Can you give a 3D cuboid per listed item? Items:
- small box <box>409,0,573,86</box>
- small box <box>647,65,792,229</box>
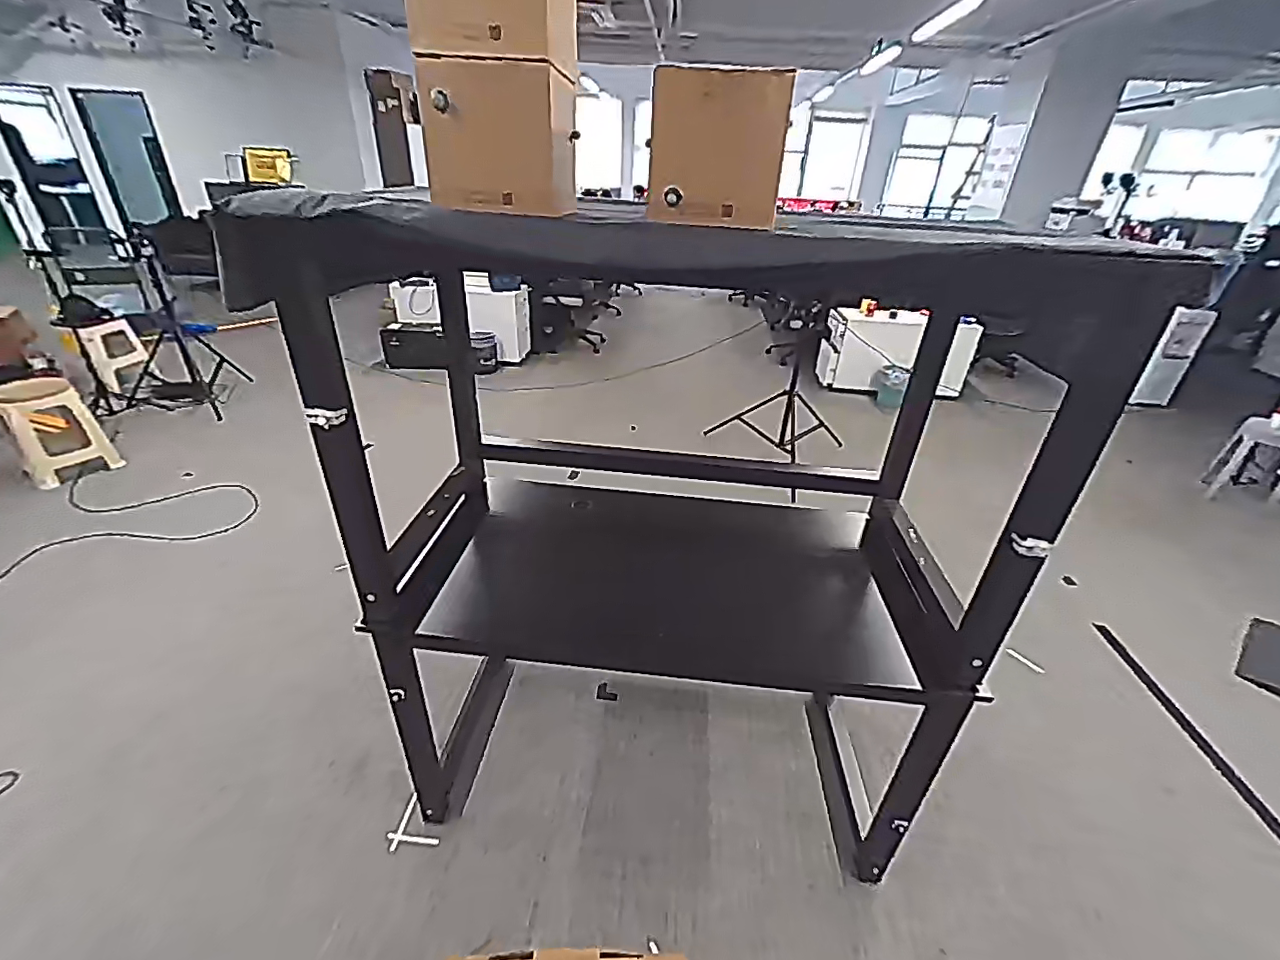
[{"bbox_3d":[-0.177,-0.603,0.667,0.168,0.176,0.179,5,28,3],"label":"small box"},{"bbox_3d":[0.100,-0.438,0.730,0.168,0.176,0.179,6,28,4],"label":"small box"}]
